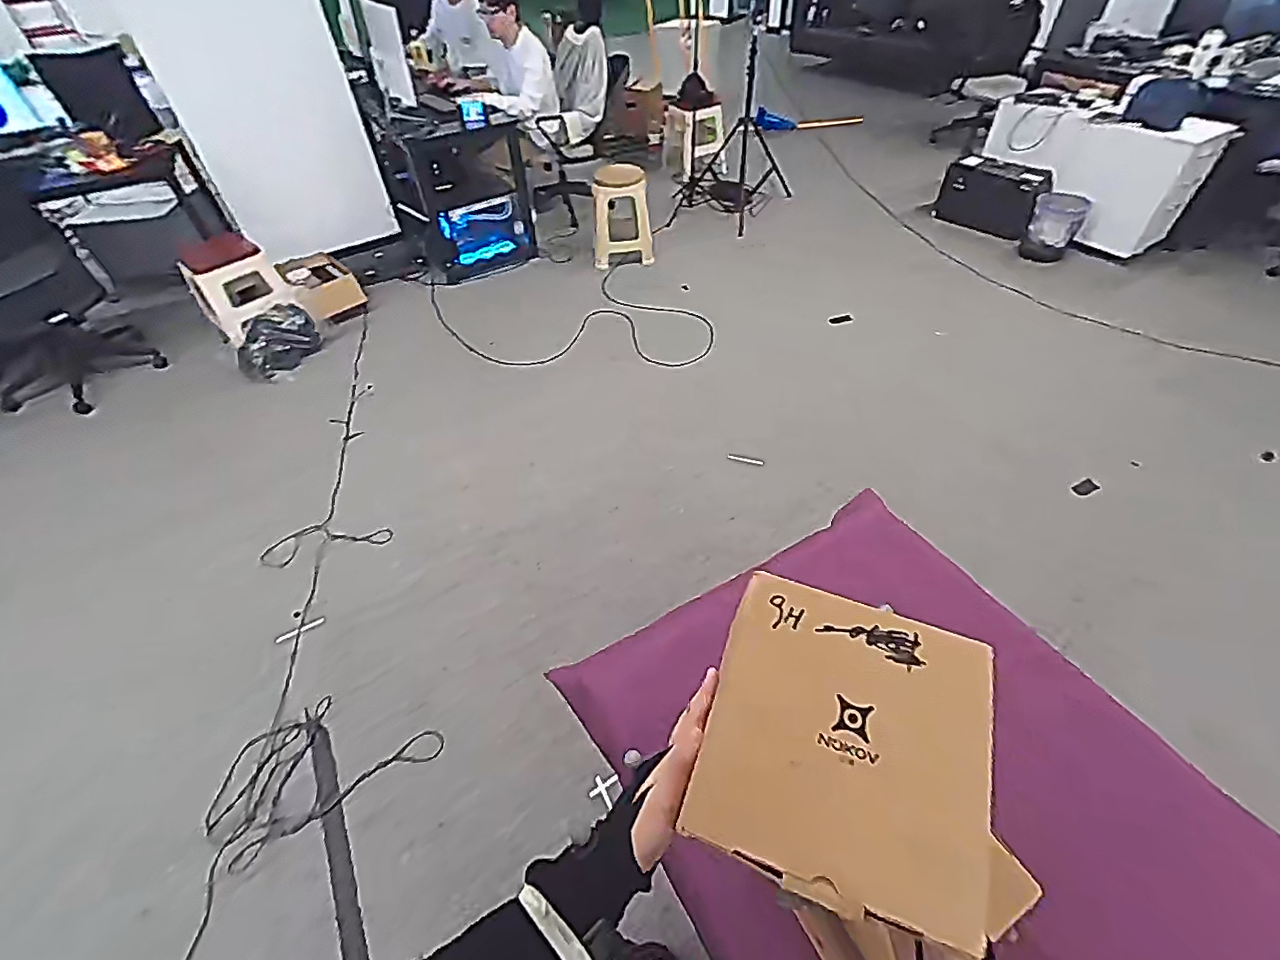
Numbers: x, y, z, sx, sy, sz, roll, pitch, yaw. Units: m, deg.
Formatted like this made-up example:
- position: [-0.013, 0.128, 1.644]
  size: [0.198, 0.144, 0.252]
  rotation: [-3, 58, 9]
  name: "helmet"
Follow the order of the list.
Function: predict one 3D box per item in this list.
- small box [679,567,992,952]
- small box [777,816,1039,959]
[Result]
- position: [0.131, 0.196, 0.406]
  size: [0.168, 0.176, 0.179]
  rotation: [17, 60, 11]
  name: "small box"
- position: [0.250, 0.400, 0.565]
  size: [0.179, 0.176, 0.168]
  rotation: [-23, 51, -19]
  name: "small box"
